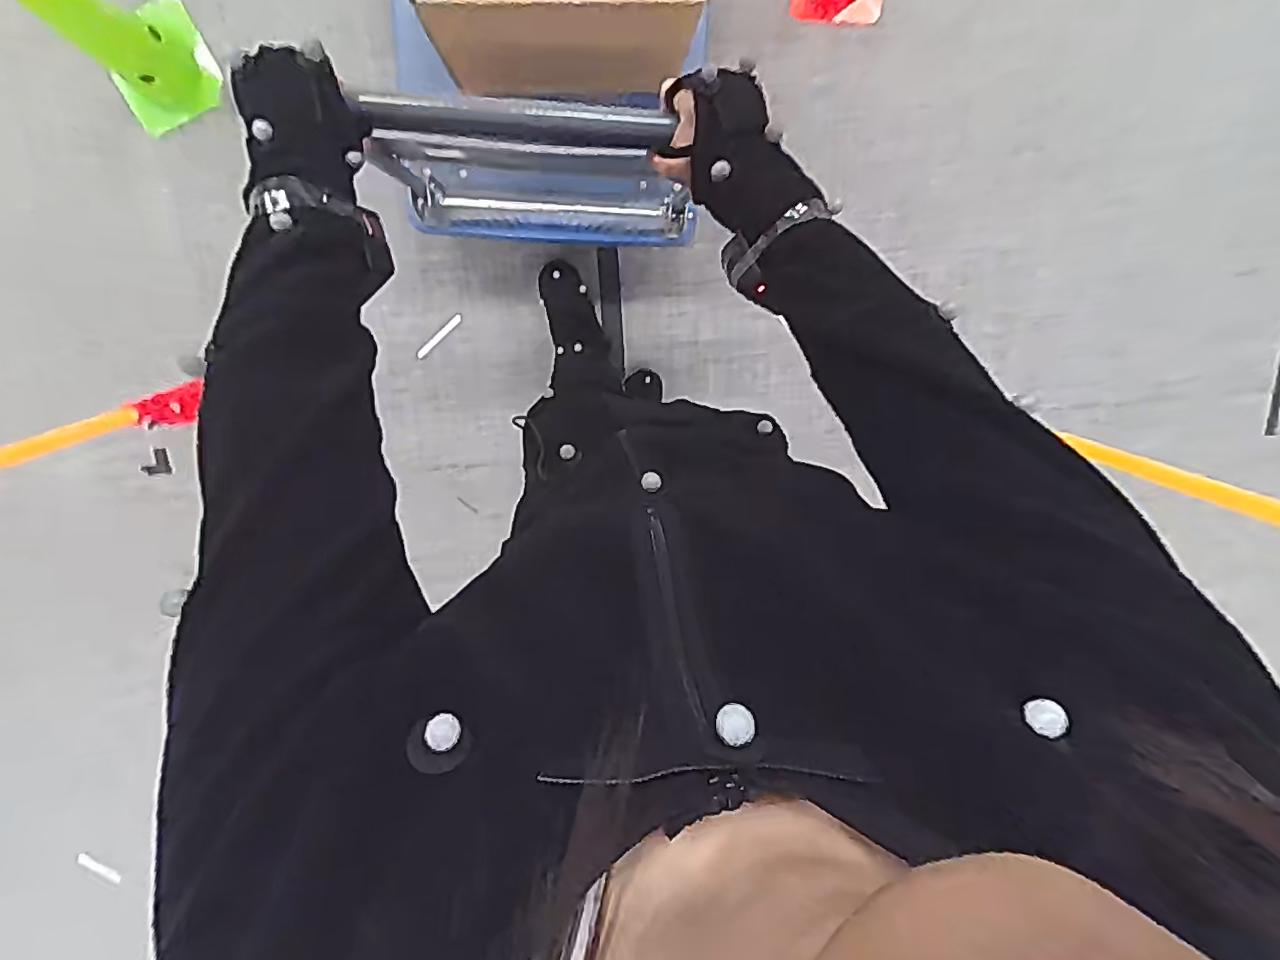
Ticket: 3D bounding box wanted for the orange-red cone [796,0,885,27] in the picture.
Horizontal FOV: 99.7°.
[{"bbox_3d":[0.456,-1.049,0.992,0.199,0.360,0.198,1,105,-6],"label":"orange-red cone"}]
